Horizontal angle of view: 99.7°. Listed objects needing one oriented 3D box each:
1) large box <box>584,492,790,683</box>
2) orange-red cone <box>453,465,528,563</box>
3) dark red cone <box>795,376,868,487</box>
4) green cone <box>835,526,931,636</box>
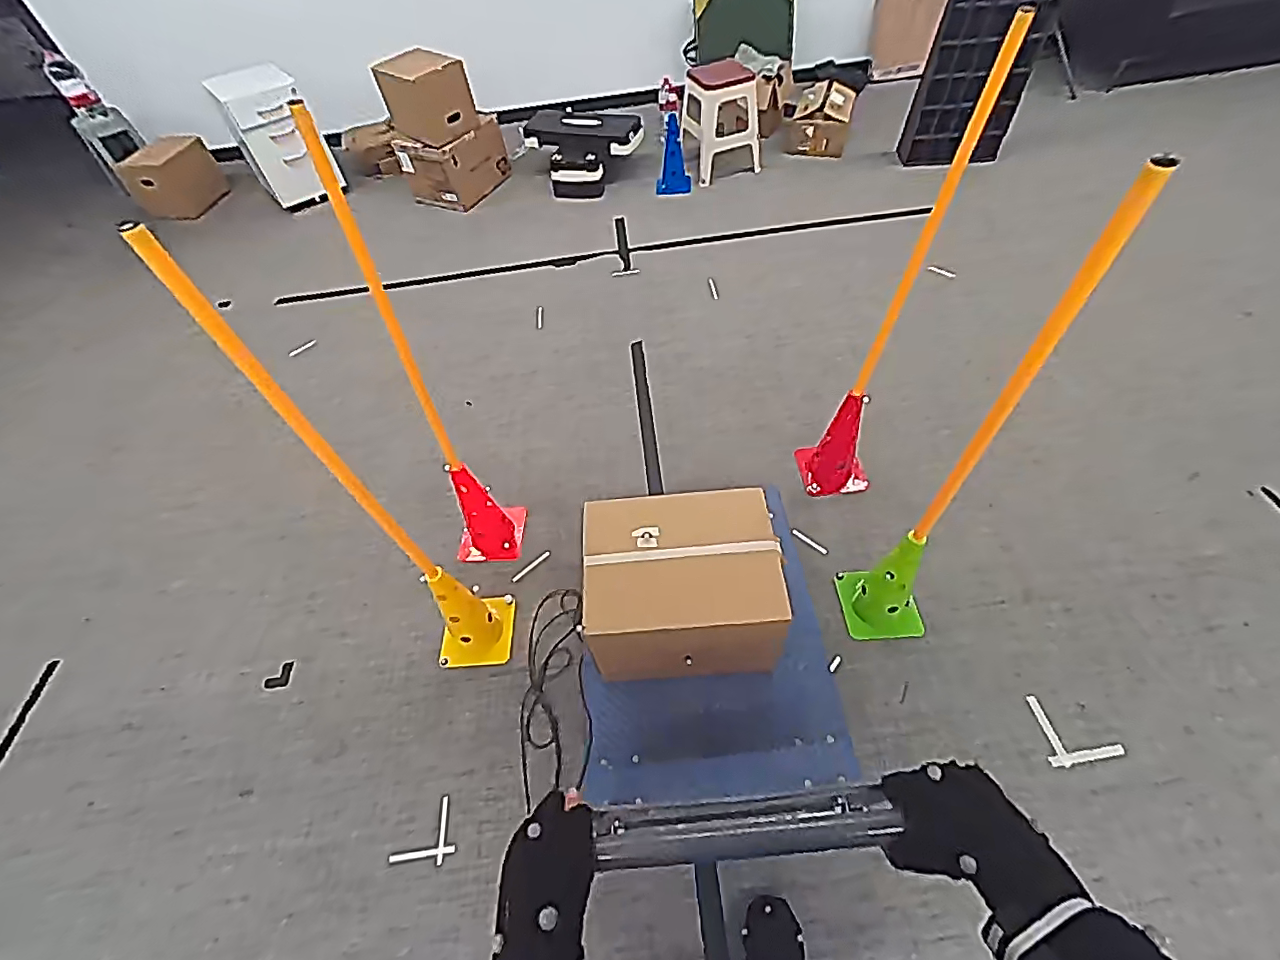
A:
[{"bbox_3d":[0.097,0.257,1.245,0.408,0.320,0.320,-6,53,3],"label":"large box"},{"bbox_3d":[-0.487,0.078,1.631,0.198,0.360,0.199,-1,51,4],"label":"orange-red cone"},{"bbox_3d":[0.622,-0.159,1.661,0.201,0.394,0.202,-7,53,-1],"label":"dark red cone"},{"bbox_3d":[0.654,0.235,1.379,0.202,0.368,0.200,-4,52,2],"label":"green cone"}]
